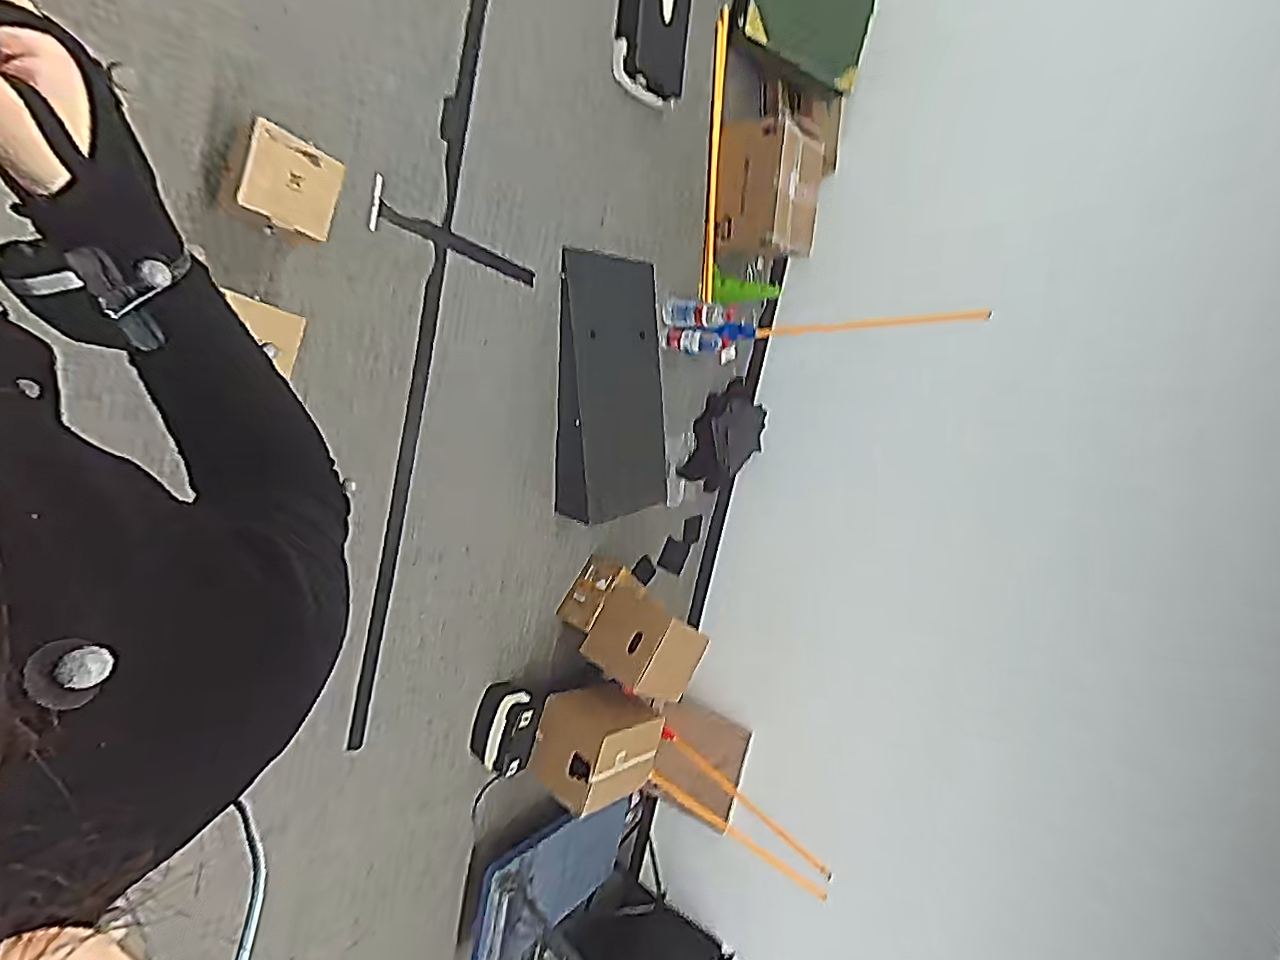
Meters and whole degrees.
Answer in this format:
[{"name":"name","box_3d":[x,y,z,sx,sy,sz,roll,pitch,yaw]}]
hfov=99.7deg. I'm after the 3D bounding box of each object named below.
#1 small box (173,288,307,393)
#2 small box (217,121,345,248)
[{"name":"small box","box_3d":[-0.863,-0.299,1.163,0.179,0.176,0.168,16,92,-54]},{"name":"small box","box_3d":[-0.769,-0.617,1.152,0.168,0.176,0.179,15,93,-53]}]
